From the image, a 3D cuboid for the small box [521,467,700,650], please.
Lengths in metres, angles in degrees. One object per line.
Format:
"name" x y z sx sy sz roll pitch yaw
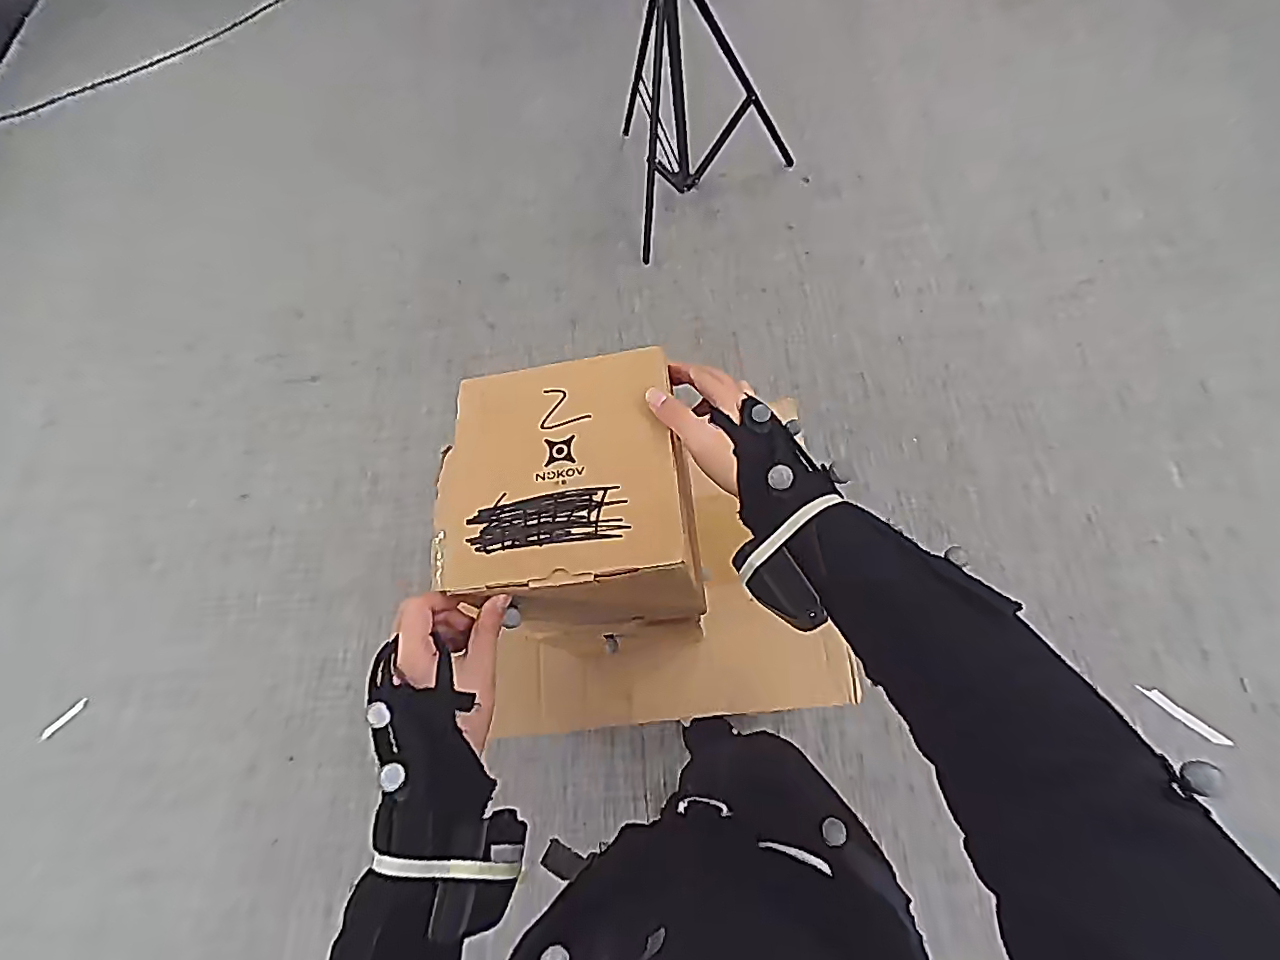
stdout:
"small box" -0.025 0.099 0.620 0.179 0.176 0.168 -8 68 6
